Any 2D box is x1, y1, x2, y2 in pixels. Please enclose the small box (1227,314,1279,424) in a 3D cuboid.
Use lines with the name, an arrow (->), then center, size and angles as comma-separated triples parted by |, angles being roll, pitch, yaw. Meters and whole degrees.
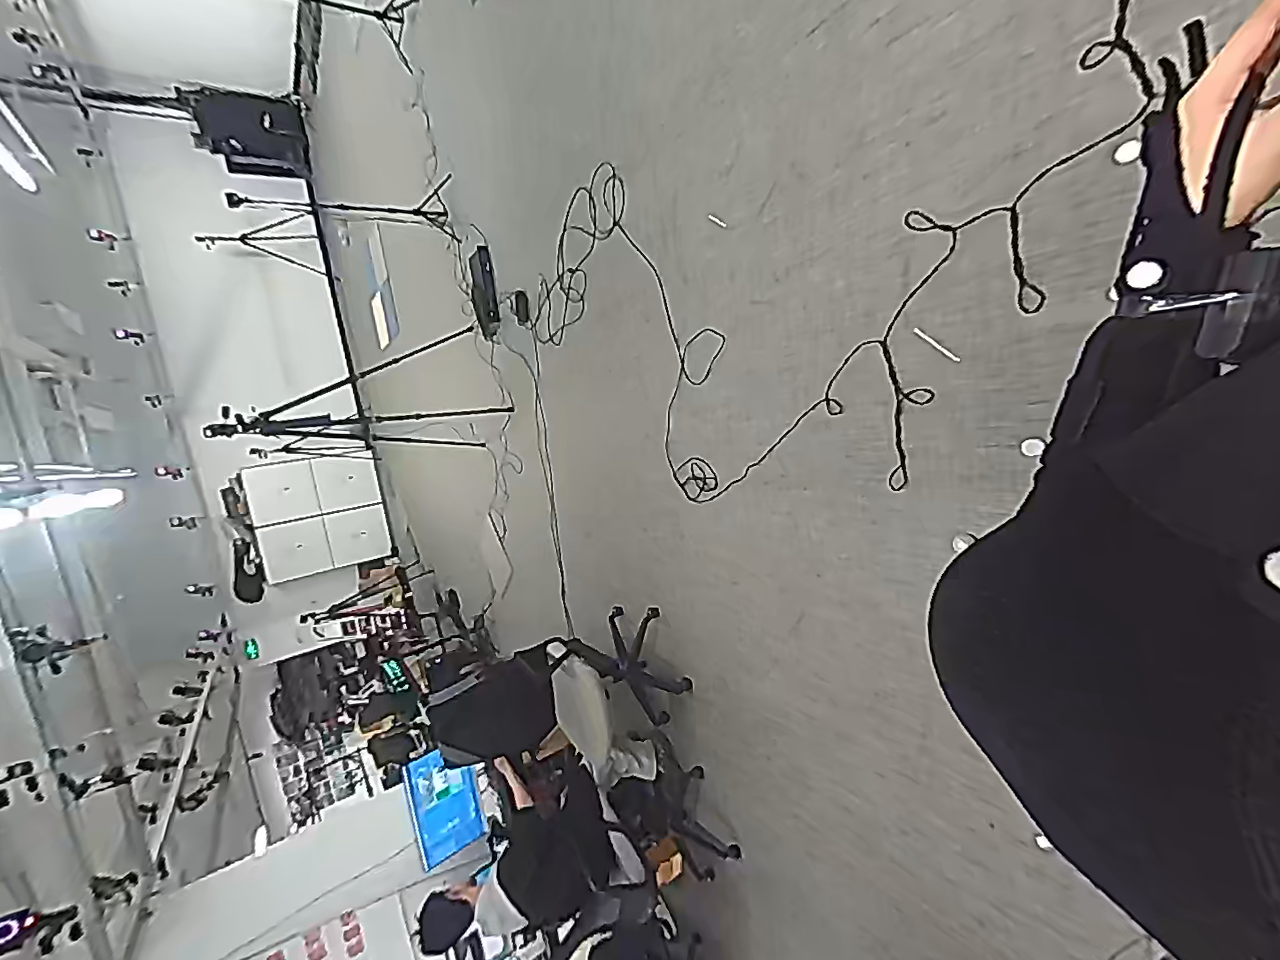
small box -> 1.069, -0.168, 0.835 | 0.179, 0.176, 0.168 | -151, 61, -62
